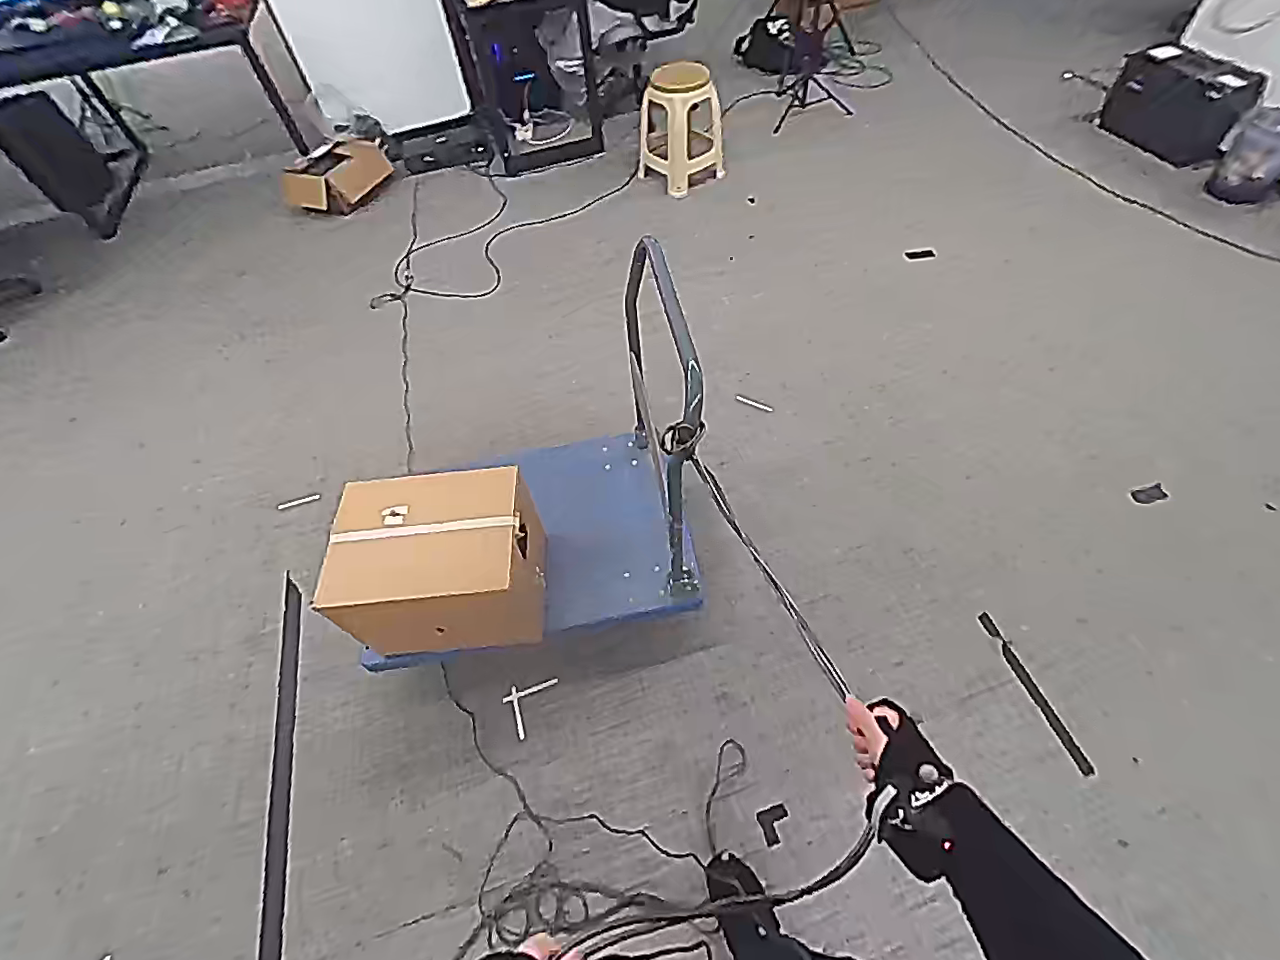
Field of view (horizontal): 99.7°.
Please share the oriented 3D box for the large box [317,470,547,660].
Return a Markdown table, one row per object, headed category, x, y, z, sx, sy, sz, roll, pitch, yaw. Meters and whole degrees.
| category | x | y | z | sx | sy | sz | roll | pitch | yaw |
| --- | --- | --- | --- | --- | --- | --- | --- | --- | --- |
| large box | -0.449 | 0.210 | 1.278 | 0.408 | 0.320 | 0.320 | -7 | 53 | 1 |
